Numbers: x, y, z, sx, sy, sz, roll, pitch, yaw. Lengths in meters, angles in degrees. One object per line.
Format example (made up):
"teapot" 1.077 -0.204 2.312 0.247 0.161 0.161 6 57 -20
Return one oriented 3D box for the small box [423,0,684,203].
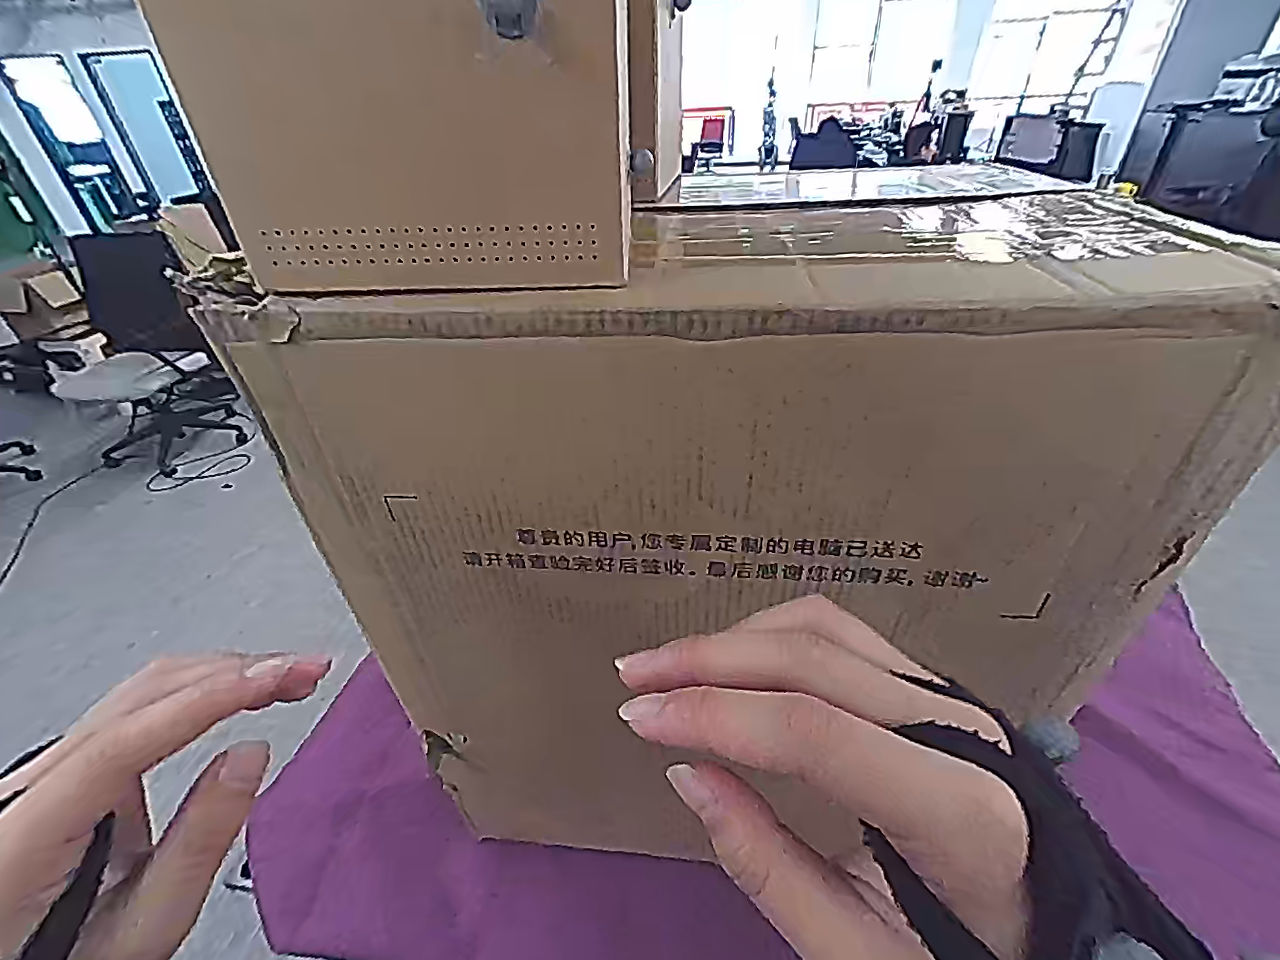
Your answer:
"small box" -0.053 -0.334 0.449 0.168 0.176 0.179 5 36 8
